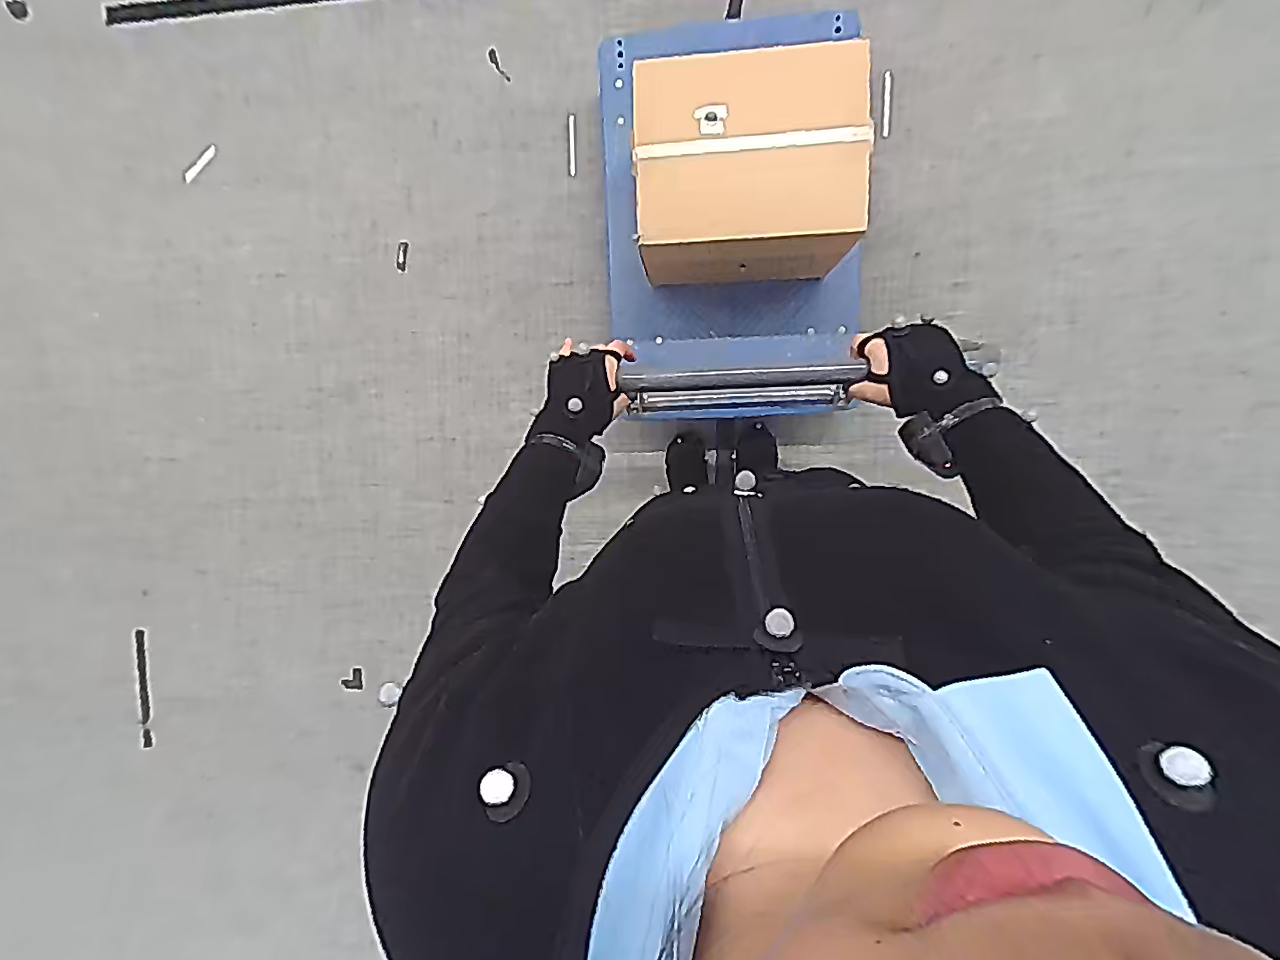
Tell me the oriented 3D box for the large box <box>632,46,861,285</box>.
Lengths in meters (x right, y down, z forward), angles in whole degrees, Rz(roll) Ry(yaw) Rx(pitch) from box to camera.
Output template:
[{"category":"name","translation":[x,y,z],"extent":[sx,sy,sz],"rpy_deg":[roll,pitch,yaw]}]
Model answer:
[{"category":"large box","translation":[0.208,-0.605,1.113],"extent":[0.408,0.320,0.320],"rpy_deg":[-1,95,7]}]
